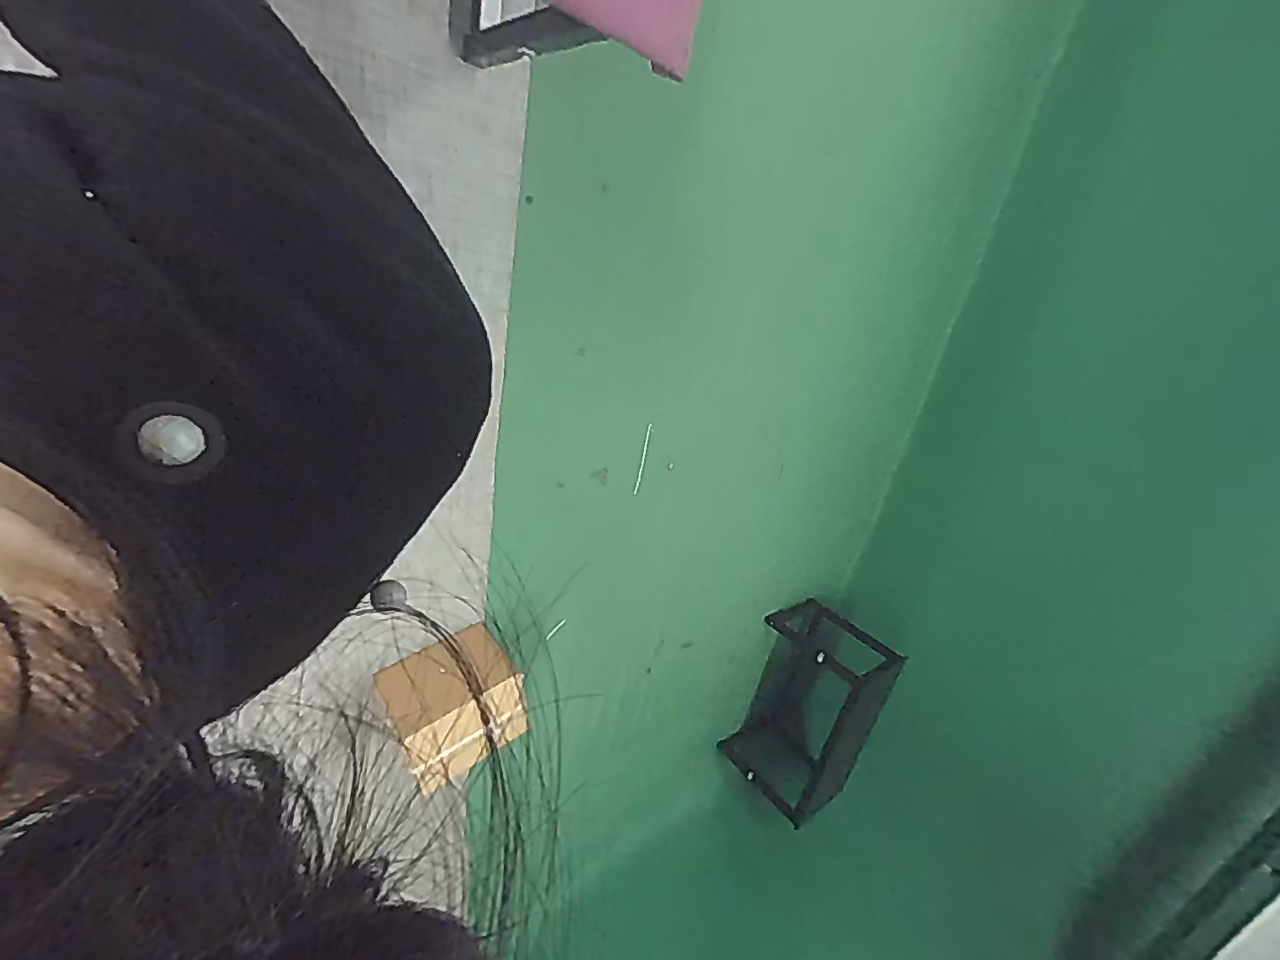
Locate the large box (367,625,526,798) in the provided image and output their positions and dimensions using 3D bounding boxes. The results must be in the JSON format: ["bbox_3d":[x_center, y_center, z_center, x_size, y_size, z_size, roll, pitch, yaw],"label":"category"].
[{"bbox_3d":[-0.669,0.790,1.895,0.408,0.320,0.320,-24,129,-33],"label":"large box"}]
